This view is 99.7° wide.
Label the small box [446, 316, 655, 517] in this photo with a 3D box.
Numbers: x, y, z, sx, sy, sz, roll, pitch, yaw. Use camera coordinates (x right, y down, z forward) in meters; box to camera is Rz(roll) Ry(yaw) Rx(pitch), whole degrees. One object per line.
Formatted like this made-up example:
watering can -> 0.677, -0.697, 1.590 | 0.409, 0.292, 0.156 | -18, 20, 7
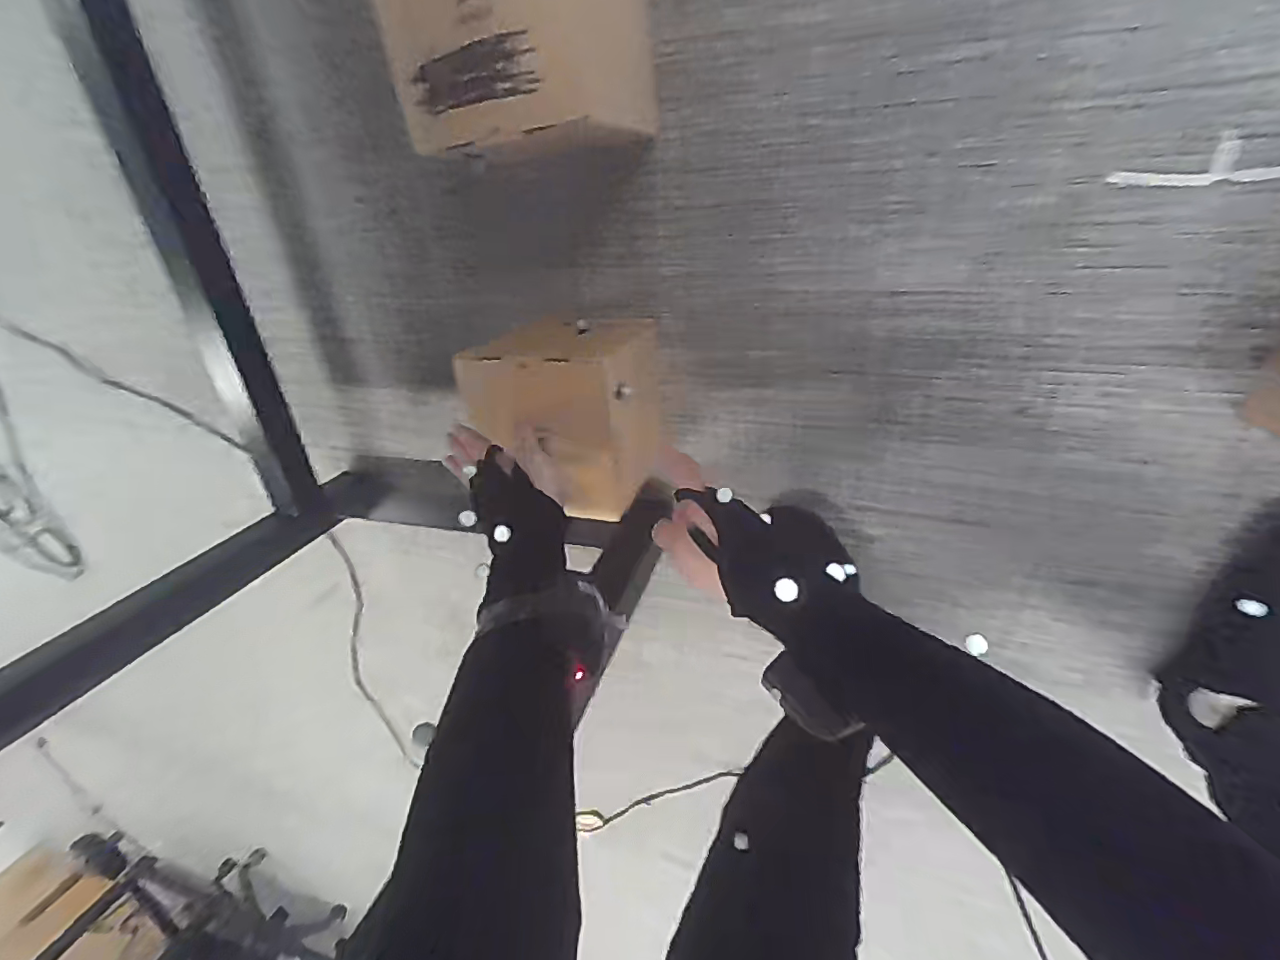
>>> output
small box -> -0.085, -0.081, 0.618 | 0.168, 0.176, 0.179 | 6, 118, 19
